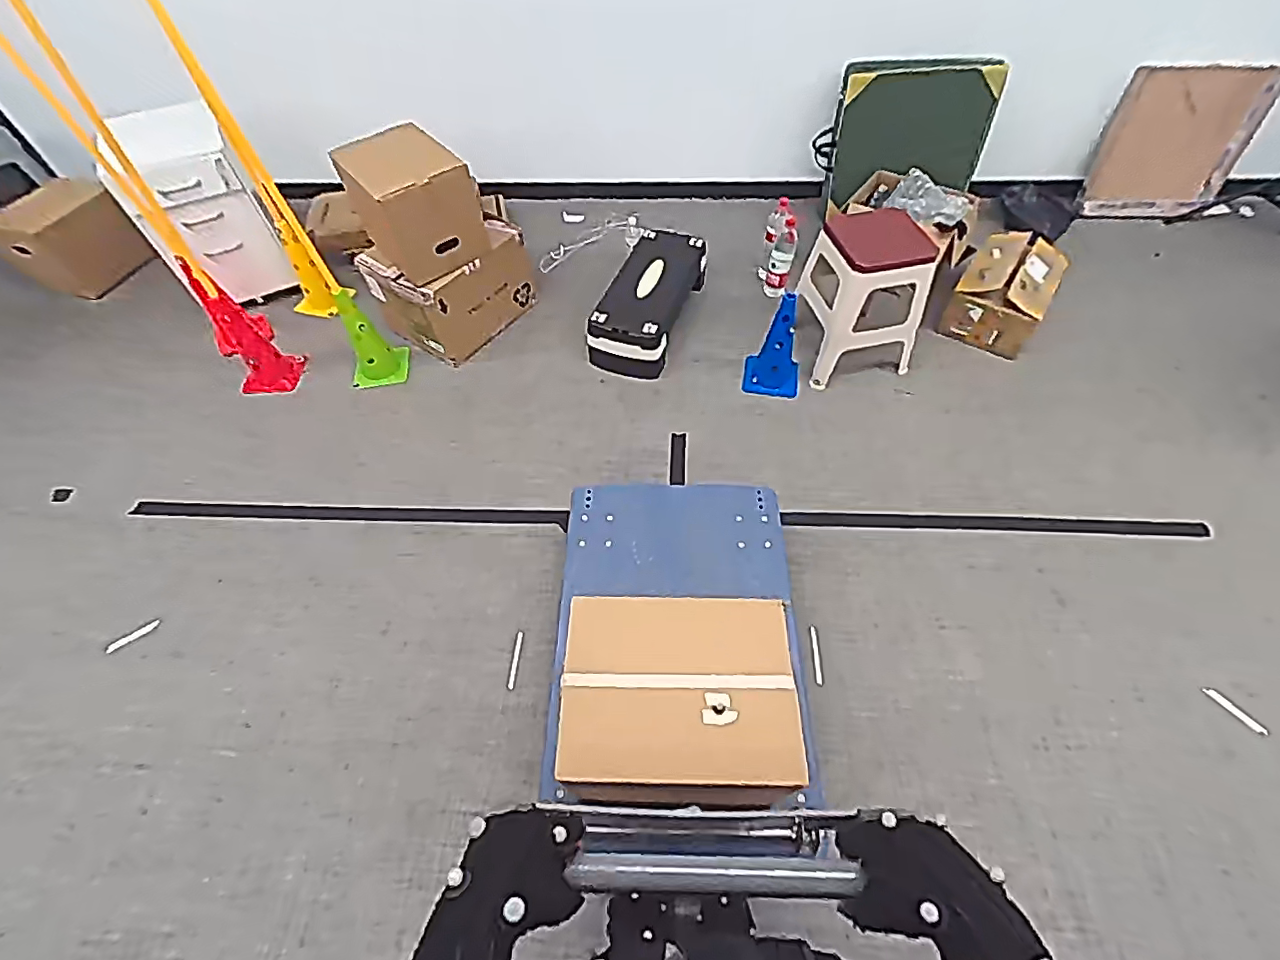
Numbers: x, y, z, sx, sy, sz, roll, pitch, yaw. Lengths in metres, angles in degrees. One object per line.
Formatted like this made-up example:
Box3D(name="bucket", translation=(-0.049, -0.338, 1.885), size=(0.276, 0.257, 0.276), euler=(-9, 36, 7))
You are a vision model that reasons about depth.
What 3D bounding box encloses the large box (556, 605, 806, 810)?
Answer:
Box3D(name="large box", translation=(0.063, 0.449, 1.054), size=(0.408, 0.320, 0.320), euler=(1, 55, 0))
